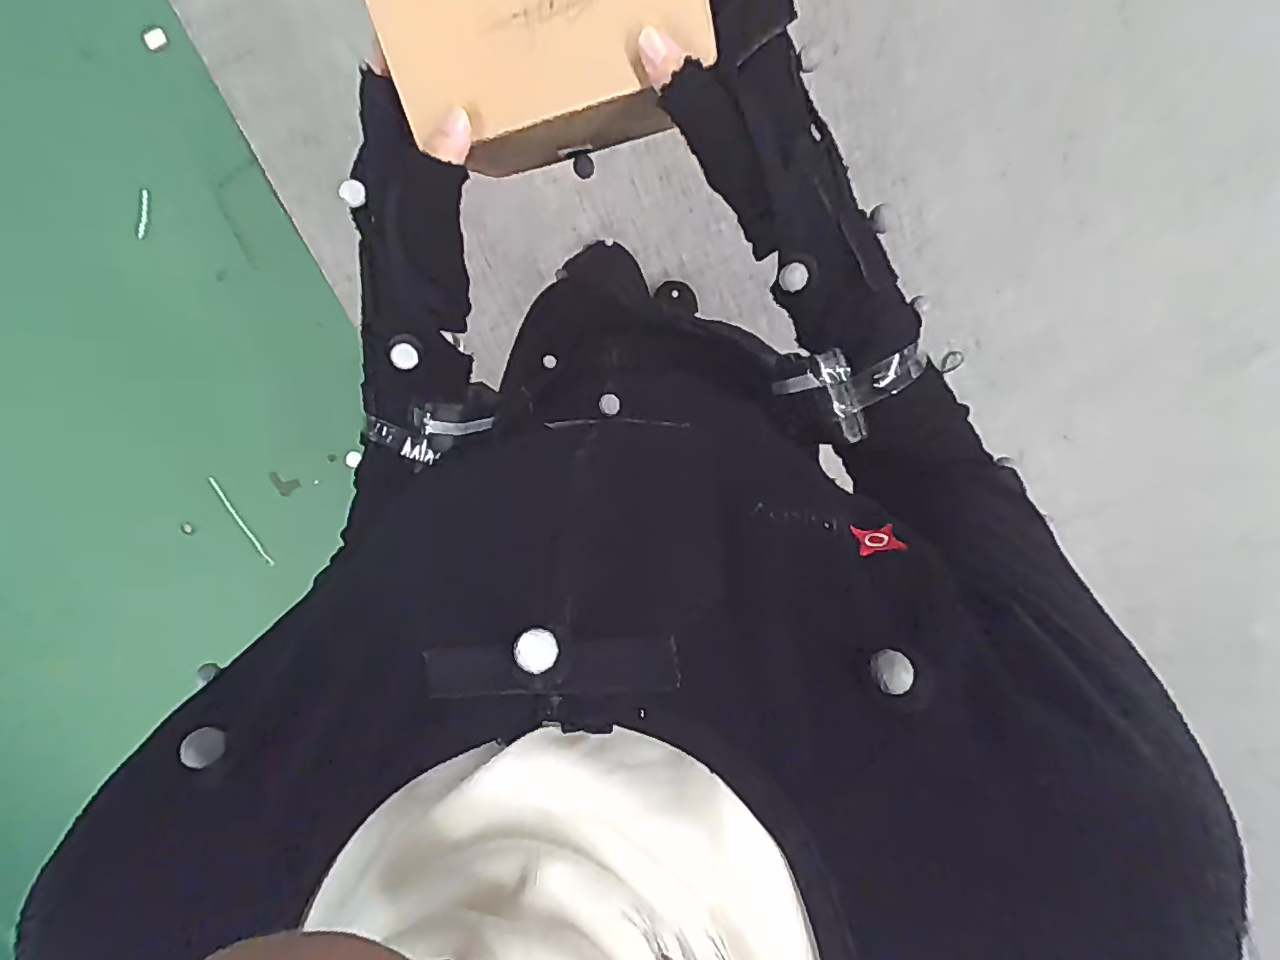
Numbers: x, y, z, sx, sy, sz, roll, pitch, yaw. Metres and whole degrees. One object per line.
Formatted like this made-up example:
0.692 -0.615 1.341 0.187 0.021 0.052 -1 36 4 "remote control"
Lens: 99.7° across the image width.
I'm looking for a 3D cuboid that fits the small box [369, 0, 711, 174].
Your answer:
-0.059 -0.307 0.325 0.168 0.176 0.179 -12 114 8 "small box"
